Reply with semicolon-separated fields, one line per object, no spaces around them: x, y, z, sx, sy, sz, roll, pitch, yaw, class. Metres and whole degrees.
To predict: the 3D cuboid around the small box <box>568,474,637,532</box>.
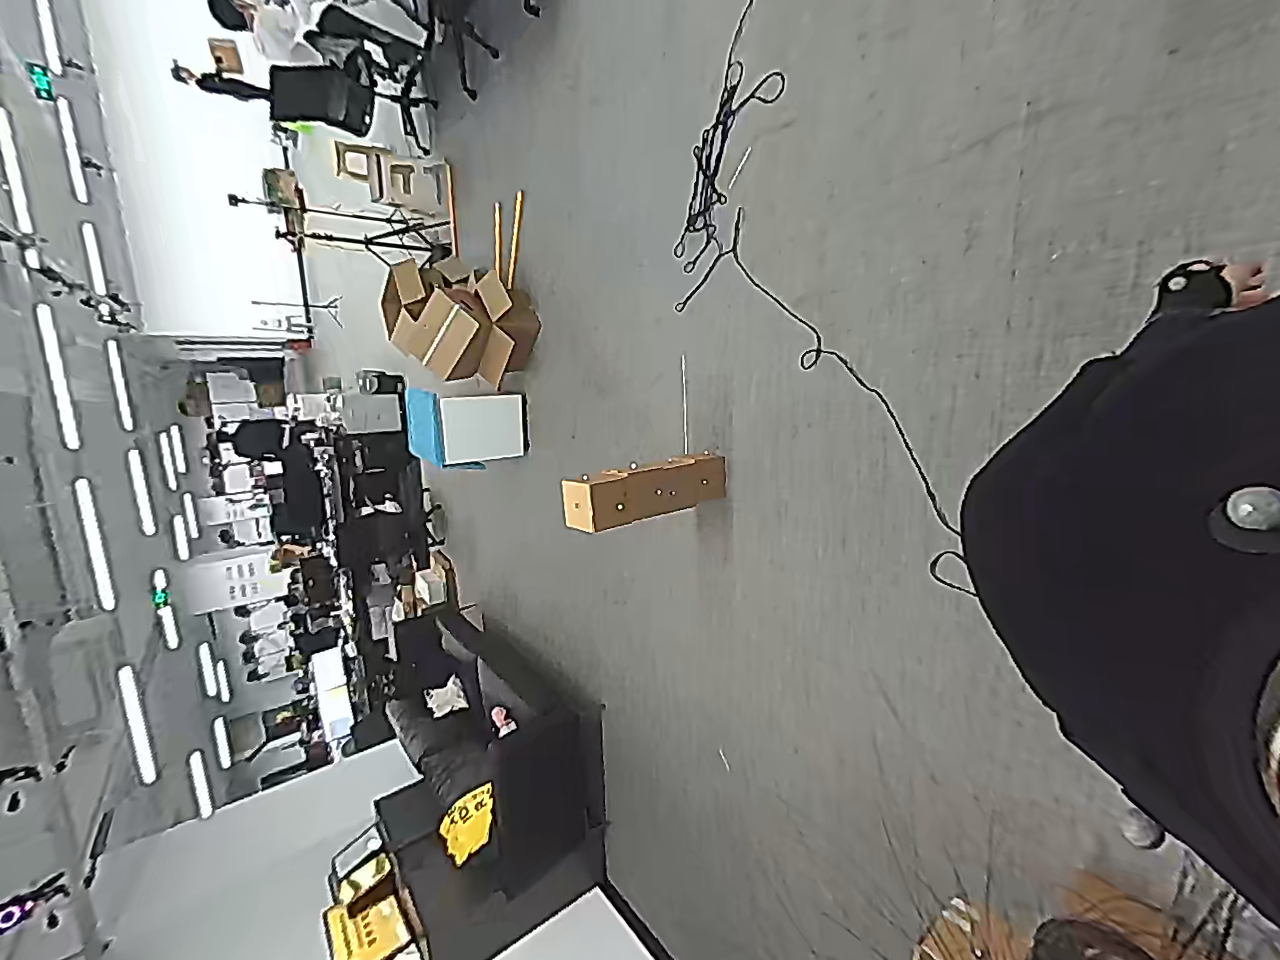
-0.130;0.072;1.875;0.179;0.176;0.168;6;104;51;small box

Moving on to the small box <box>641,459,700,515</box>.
0.120;0.023;2.081;0.168;0.176;0.179;10;106;51;small box

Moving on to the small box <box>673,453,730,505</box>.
0.250;-0.010;2.175;0.168;0.176;0.179;10;105;52;small box

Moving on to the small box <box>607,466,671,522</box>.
-0.002;0.043;1.973;0.168;0.176;0.179;7;103;53;small box
